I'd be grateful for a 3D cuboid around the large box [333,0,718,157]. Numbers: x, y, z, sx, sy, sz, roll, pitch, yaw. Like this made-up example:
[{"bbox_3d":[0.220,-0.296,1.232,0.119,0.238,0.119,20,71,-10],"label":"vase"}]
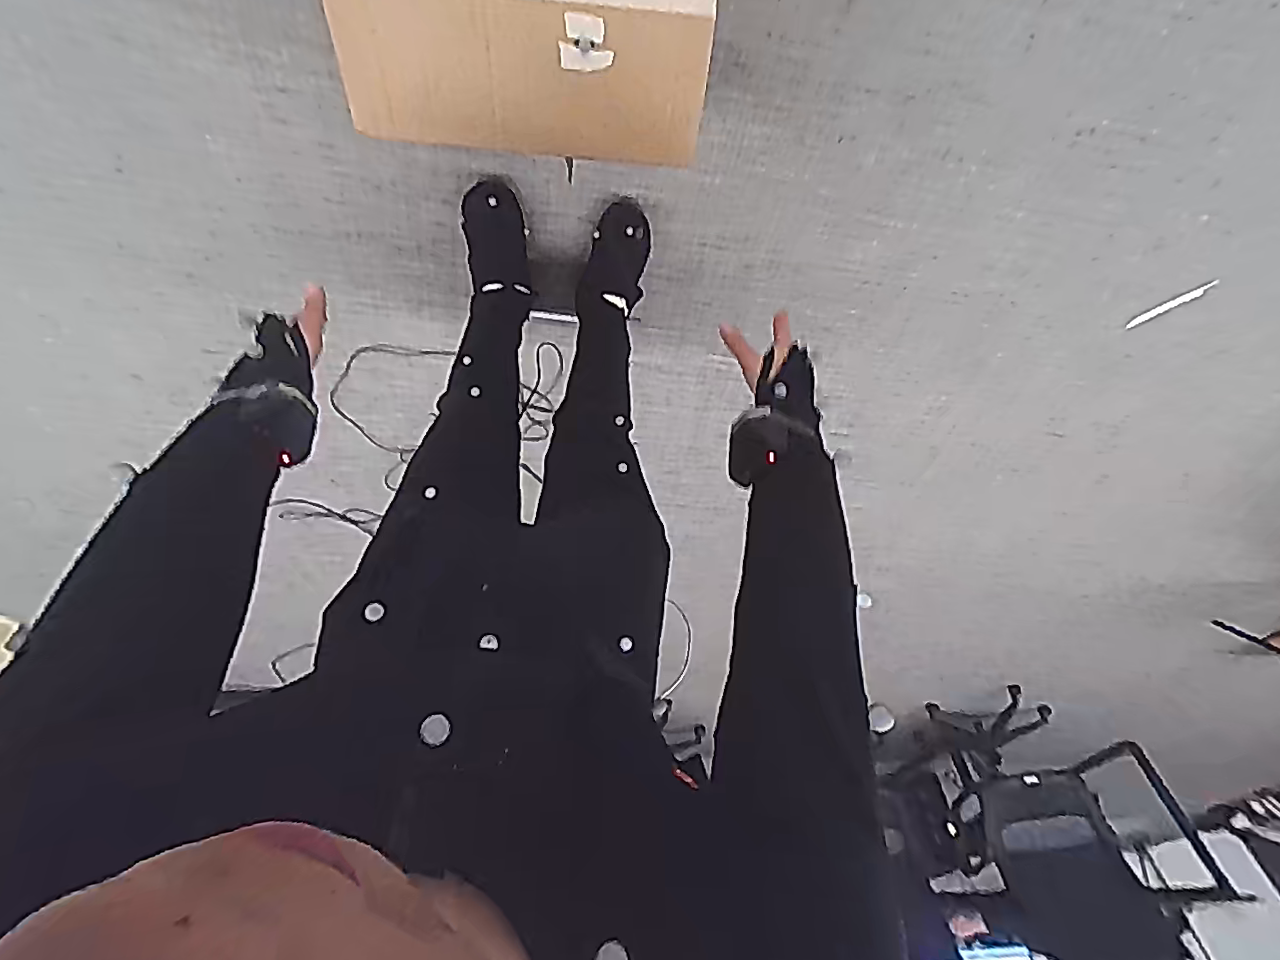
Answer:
[{"bbox_3d":[-0.123,-0.617,0.652,0.408,0.320,0.320,2,135,-6],"label":"large box"}]
